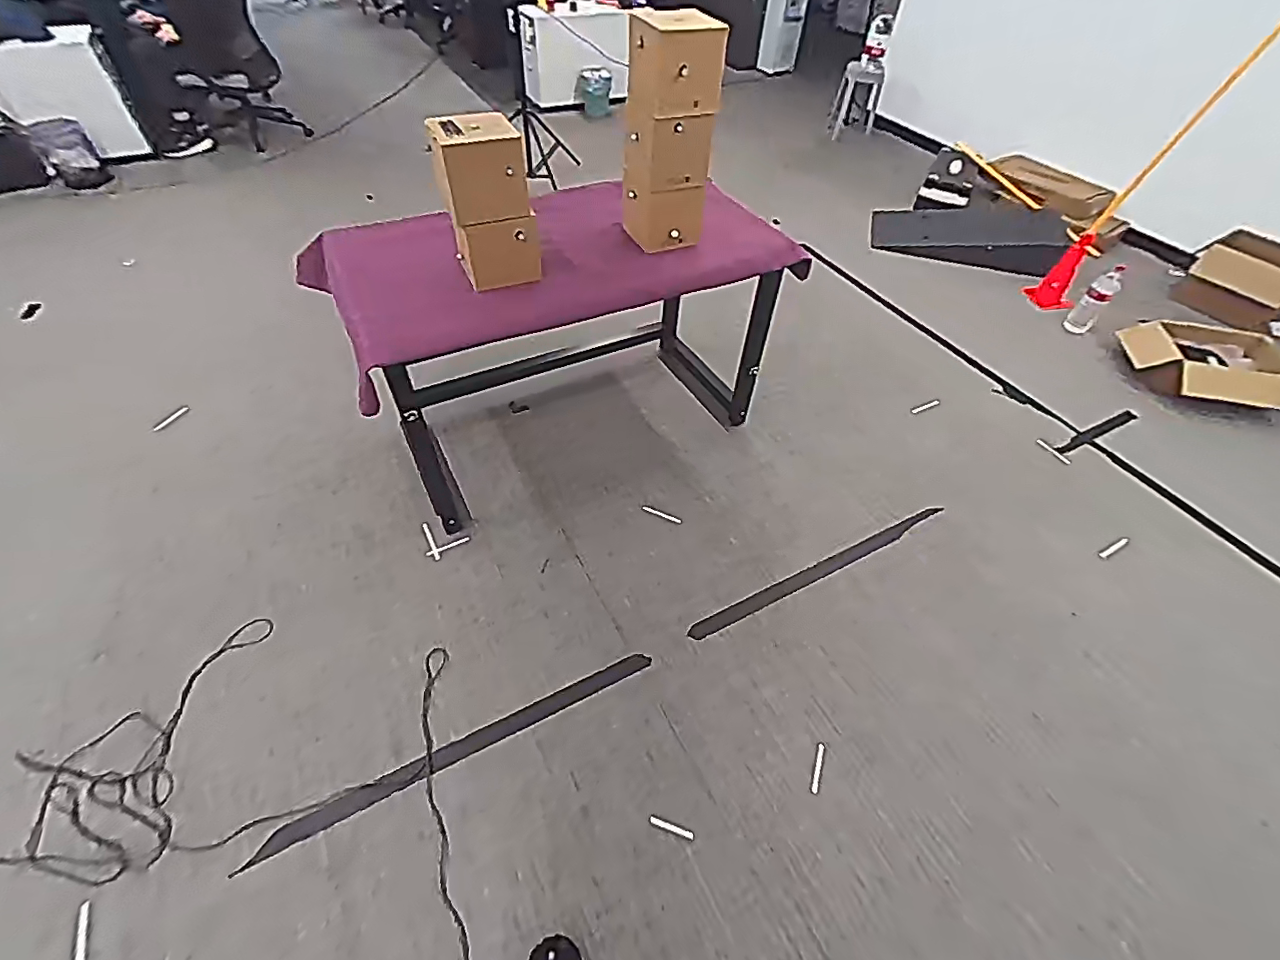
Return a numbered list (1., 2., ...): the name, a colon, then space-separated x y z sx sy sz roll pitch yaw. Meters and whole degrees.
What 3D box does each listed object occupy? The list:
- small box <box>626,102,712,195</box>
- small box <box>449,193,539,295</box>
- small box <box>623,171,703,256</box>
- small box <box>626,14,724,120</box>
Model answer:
1. small box: 0.066 -0.861 1.395 0.168 0.176 0.179 -18 52 -16
2. small box: -0.360 -0.593 1.360 0.179 0.176 0.168 -19 53 -18
3. small box: 0.057 -0.758 1.523 0.168 0.176 0.179 -19 54 -18
4. small box: 0.076 -0.961 1.266 0.168 0.176 0.179 -18 53 -16
